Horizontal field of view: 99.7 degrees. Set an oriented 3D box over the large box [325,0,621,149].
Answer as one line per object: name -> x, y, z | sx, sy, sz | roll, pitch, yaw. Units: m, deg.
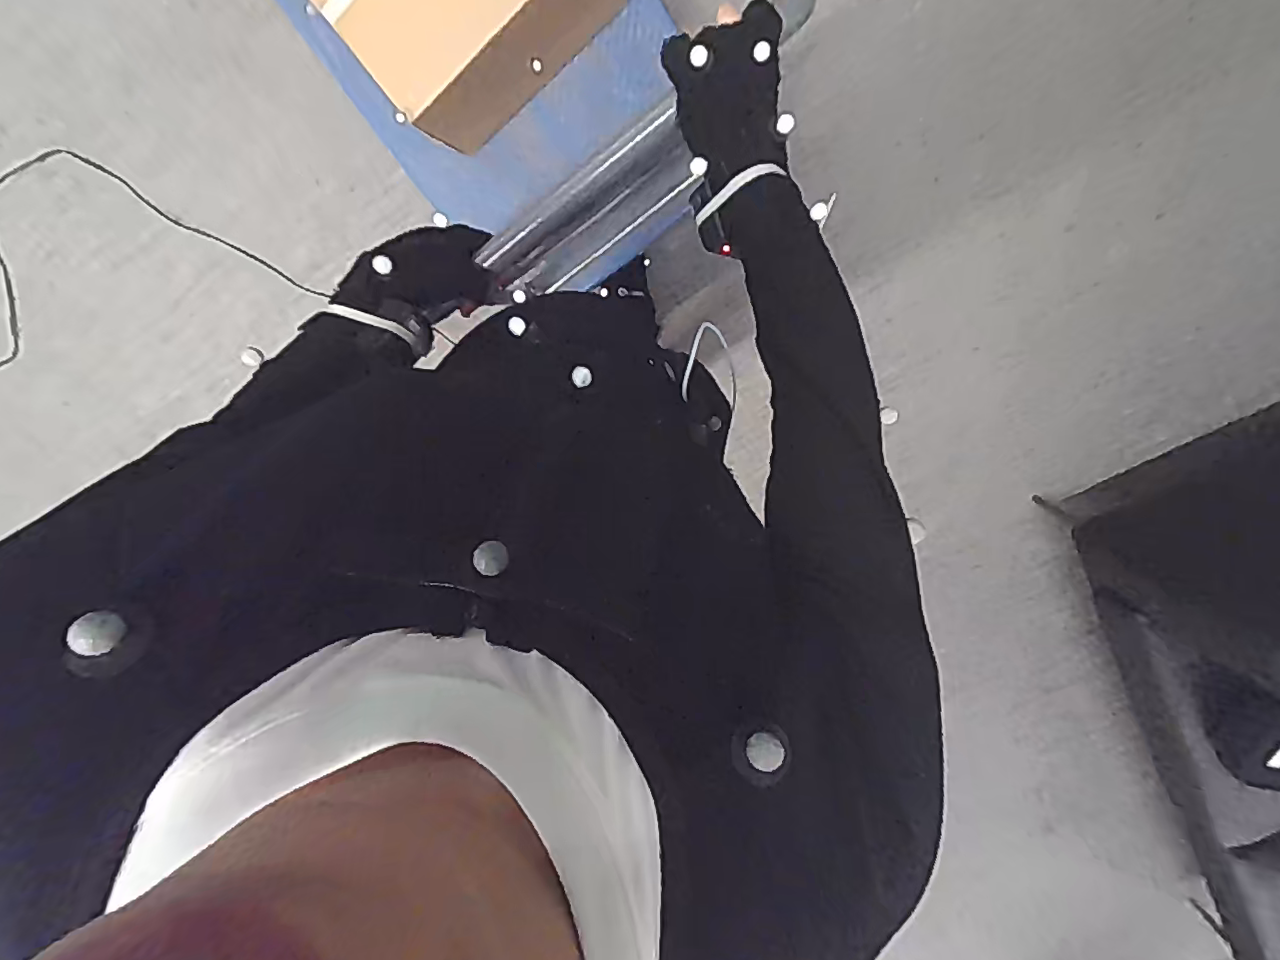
large box -> -0.265, -0.824, 0.857 | 0.408, 0.320, 0.320 | -36, 108, 15
